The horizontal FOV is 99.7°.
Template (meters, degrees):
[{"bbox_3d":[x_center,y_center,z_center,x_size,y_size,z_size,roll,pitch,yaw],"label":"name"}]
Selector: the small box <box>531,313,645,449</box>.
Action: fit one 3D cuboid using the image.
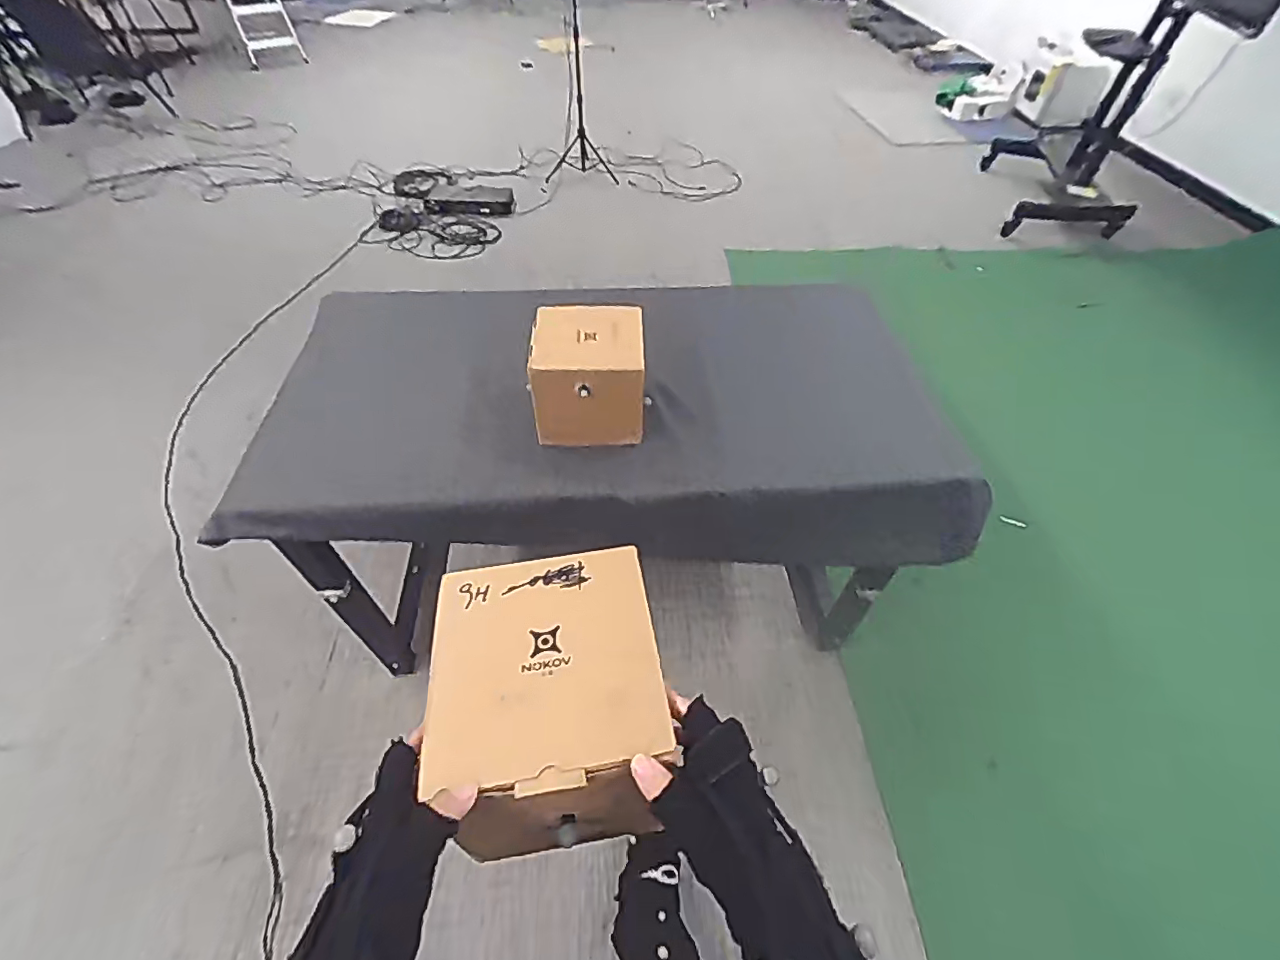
[{"bbox_3d":[-0.082,-0.167,0.927,0.179,0.176,0.168,0,50,-3],"label":"small box"}]
